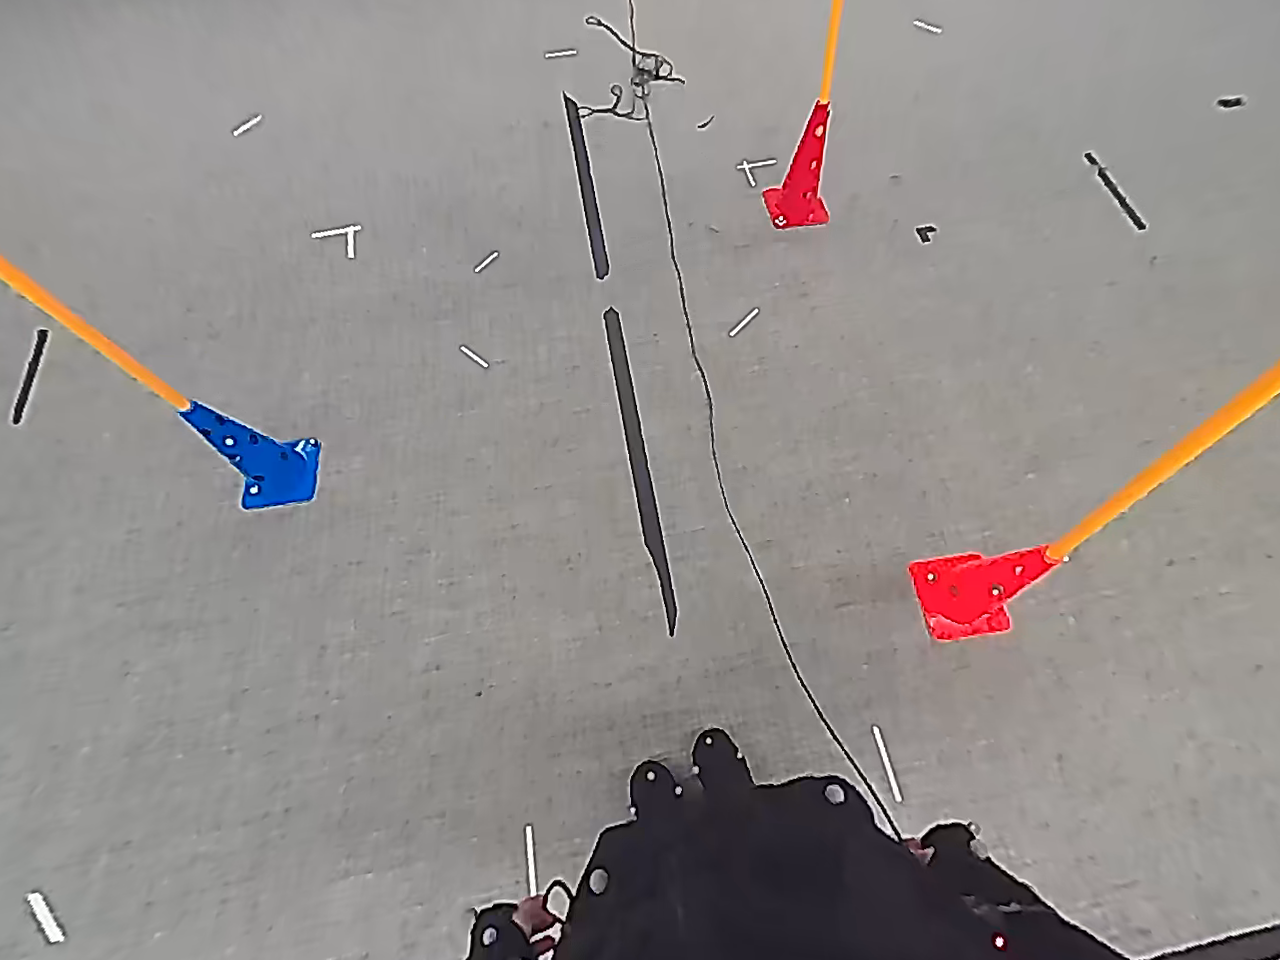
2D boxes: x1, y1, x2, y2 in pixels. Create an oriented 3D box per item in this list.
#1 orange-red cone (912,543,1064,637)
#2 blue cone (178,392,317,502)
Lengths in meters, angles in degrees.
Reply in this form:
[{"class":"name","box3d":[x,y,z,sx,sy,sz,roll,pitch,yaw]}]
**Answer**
[{"class":"orange-red cone","box3d":[0.784,0.208,1.175,0.198,0.360,0.199,-7,66,-1]},{"class":"blue cone","box3d":[-1.025,-0.097,1.390,0.193,0.380,0.192,-7,65,-2]}]
